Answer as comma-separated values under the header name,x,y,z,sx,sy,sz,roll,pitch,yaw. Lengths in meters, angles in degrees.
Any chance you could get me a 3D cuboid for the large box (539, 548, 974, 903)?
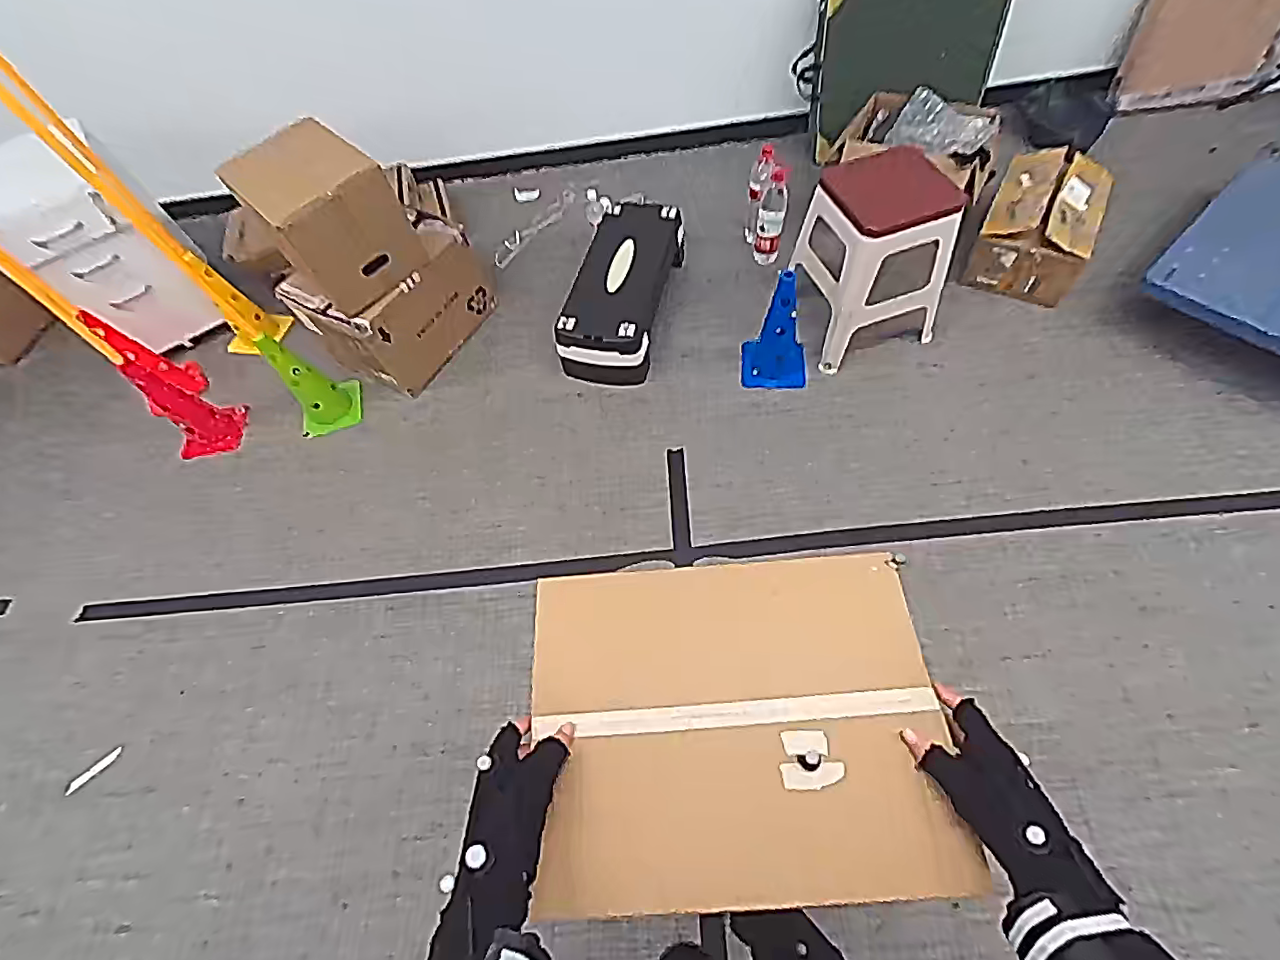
name,x,y,z,sx,sy,sz,roll,pitch,yaw
large box,0.101,0.303,0.687,0.408,0.320,0.320,-5,61,1
